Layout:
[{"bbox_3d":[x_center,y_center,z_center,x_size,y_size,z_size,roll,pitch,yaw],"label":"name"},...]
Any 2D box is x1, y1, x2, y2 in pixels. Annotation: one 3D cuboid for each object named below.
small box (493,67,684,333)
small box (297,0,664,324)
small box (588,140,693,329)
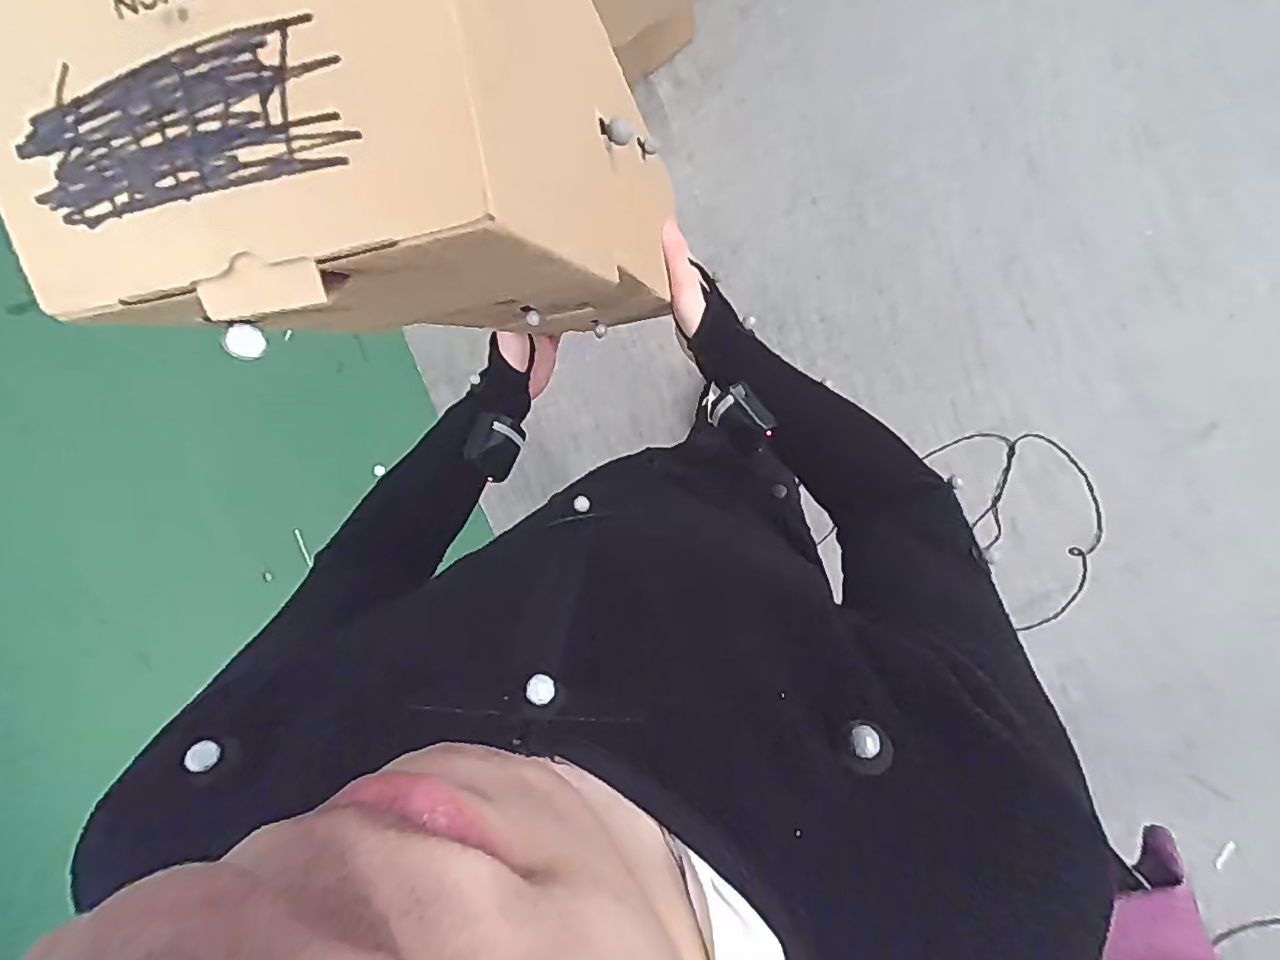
[{"bbox_3d":[-0.055,-0.250,0.533,0.168,0.176,0.179,-8,102,12],"label":"small box"},{"bbox_3d":[-0.084,-0.215,0.378,0.168,0.176,0.179,-9,102,12],"label":"small box"},{"bbox_3d":[-0.029,-0.294,0.690,0.168,0.176,0.179,-9,101,12],"label":"small box"}]
